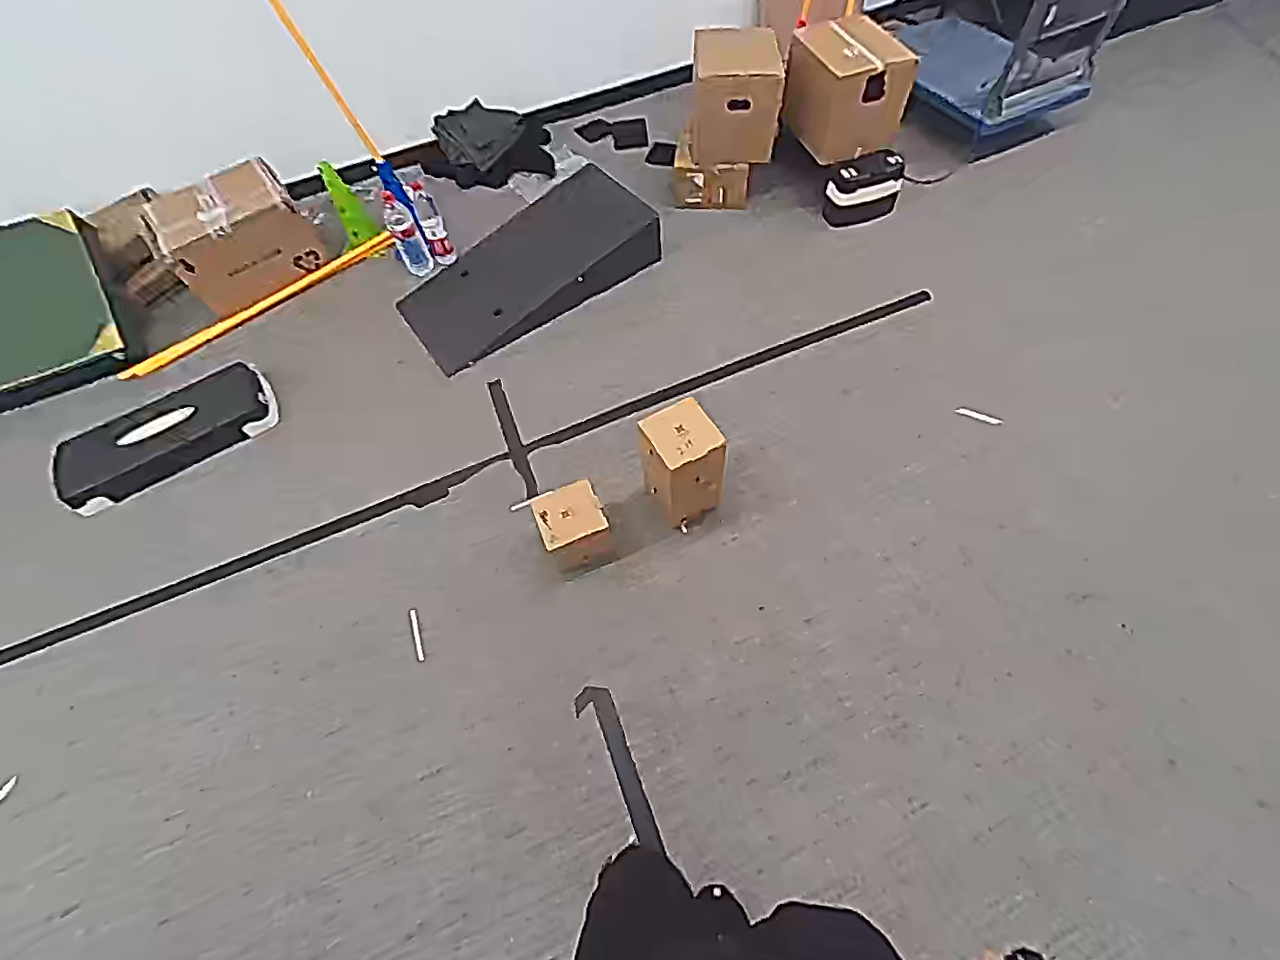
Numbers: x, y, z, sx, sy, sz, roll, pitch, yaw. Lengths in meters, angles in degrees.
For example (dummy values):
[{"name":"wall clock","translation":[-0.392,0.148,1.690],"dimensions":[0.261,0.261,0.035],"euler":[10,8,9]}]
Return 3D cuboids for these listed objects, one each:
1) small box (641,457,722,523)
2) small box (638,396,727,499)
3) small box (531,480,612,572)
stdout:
[{"name":"small box","translation":[0.121,0.003,1.561],"dimensions":[0.168,0.176,0.179],"euler":[-28,61,-11]},{"name":"small box","translation":[0.110,-0.081,1.420],"dimensions":[0.168,0.176,0.179],"euler":[-27,61,-10]},{"name":"small box","translation":[-0.185,0.132,1.511],"dimensions":[0.179,0.176,0.168],"euler":[-21,60,-8]}]
